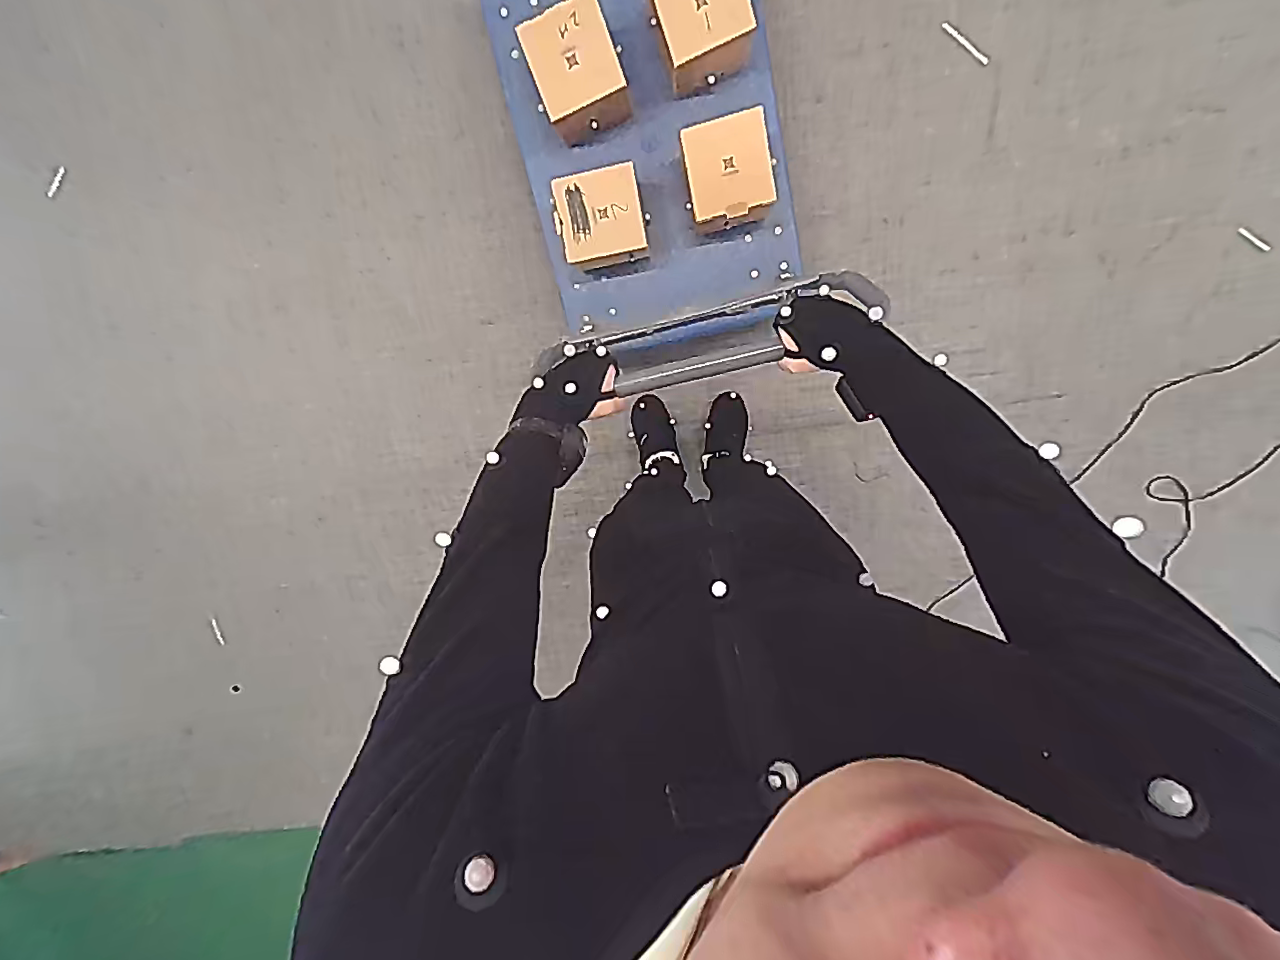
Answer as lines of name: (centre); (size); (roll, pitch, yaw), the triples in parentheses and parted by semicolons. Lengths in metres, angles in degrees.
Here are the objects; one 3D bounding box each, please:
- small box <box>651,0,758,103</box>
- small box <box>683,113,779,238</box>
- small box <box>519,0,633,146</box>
small box: (0.122, -0.908, 1.083); (0.168, 0.176, 0.179); (-19, 104, 10)
small box: (0.188, -0.638, 1.156); (0.168, 0.176, 0.179); (-12, 105, 8)
small box: (-0.122, -0.827, 1.124); (0.168, 0.176, 0.179); (-20, 103, 9)
